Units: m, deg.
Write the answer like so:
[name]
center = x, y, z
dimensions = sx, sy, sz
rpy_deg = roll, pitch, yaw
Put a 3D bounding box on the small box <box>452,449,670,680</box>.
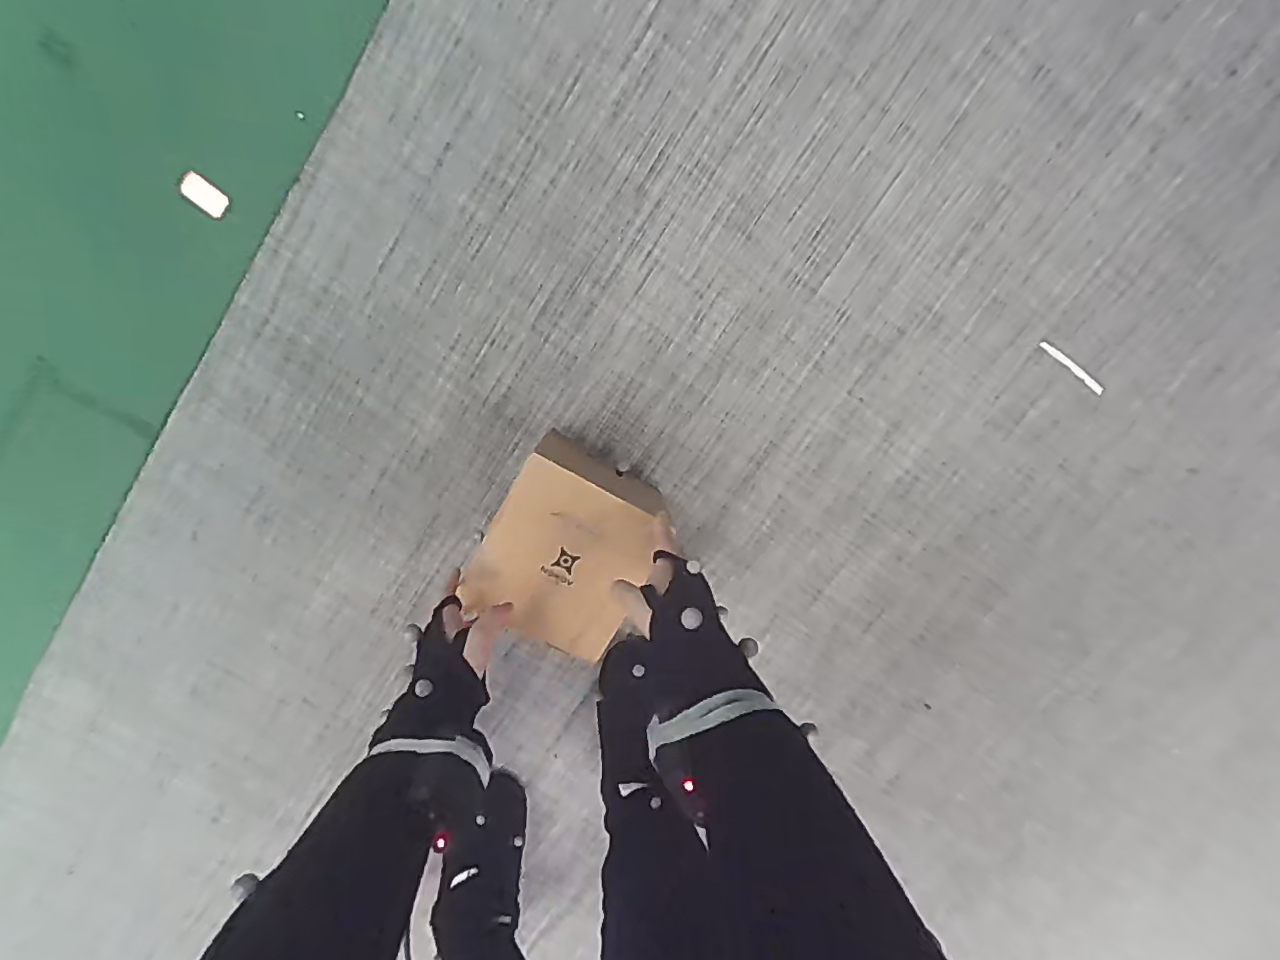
[small box]
center = -0.083, 0.084, 0.624
dimensions = 0.168, 0.176, 0.179
rpy_deg = 30, 98, -9
